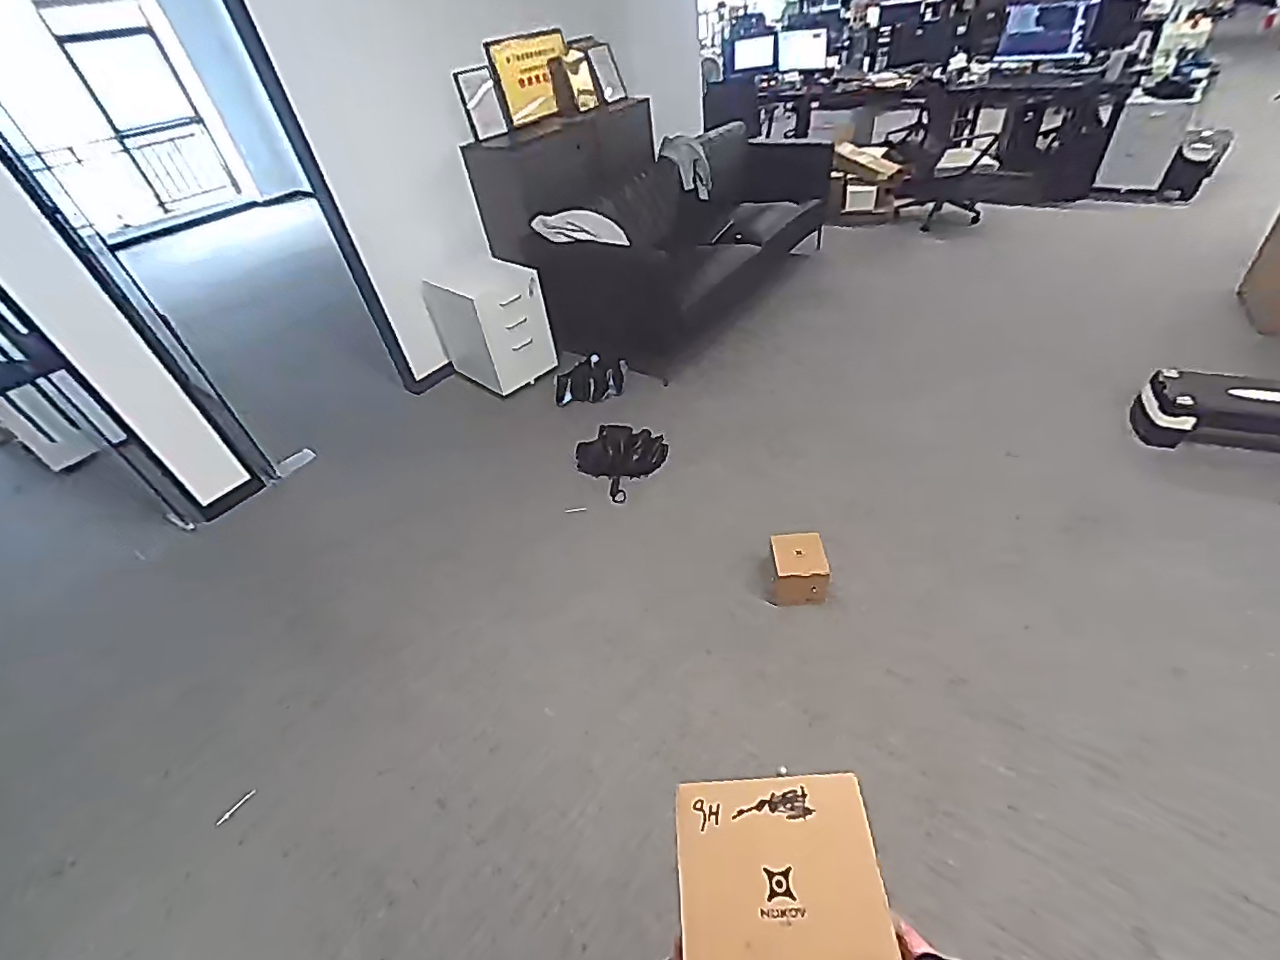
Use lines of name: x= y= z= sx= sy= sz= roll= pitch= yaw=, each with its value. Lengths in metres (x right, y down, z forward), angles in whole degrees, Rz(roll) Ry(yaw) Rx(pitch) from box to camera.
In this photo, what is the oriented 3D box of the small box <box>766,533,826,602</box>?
small box: x=0.527 y=0.304 z=1.846 sx=0.168 sy=0.176 sz=0.179 roll=-4 pitch=40 yaw=4
